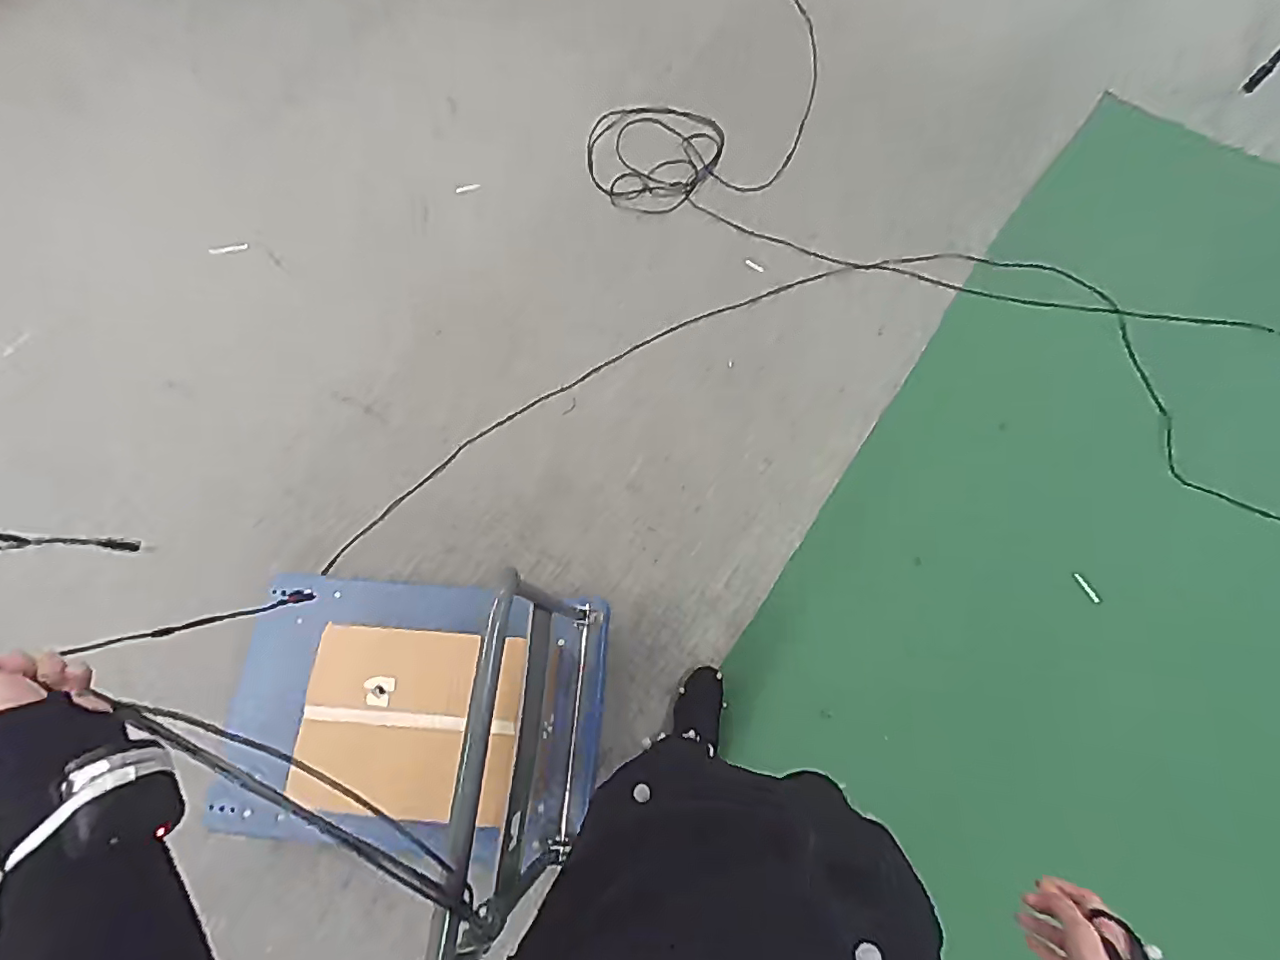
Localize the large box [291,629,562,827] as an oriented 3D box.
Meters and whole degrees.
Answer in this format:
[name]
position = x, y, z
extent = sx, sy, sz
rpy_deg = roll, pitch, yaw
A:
[large box]
position = -0.397, 0.482, 1.117
extent = 0.408, 0.320, 0.320
rpy_deg = 2, 71, 5
